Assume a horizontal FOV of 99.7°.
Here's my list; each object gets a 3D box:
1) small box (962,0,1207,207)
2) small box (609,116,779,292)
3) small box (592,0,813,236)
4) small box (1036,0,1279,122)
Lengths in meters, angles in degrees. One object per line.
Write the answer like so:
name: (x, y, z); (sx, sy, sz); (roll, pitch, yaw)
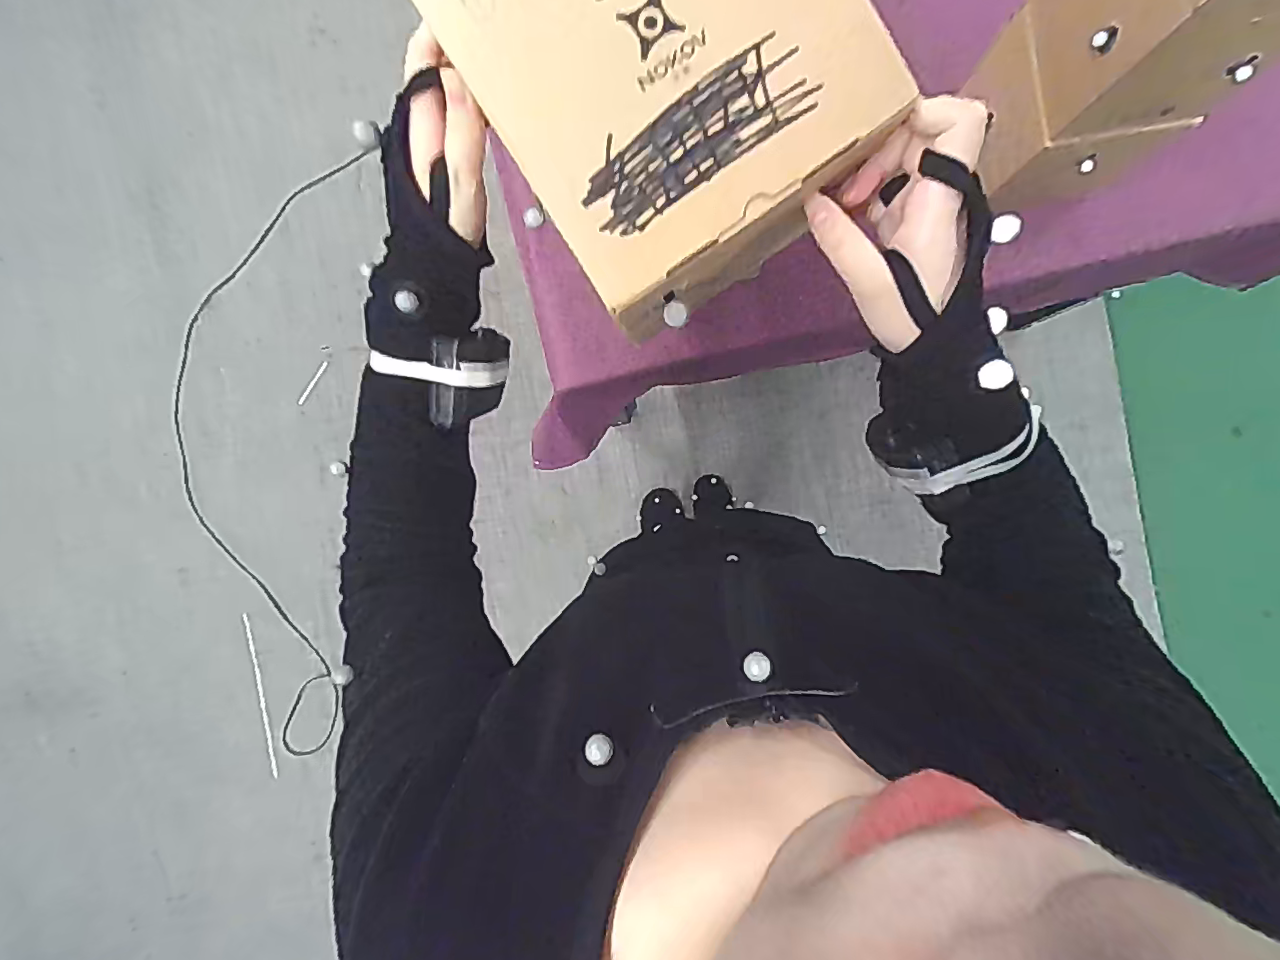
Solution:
small box: (0.532, -0.469, 0.678); (0.179, 0.176, 0.168); (-7, 90, 3)
small box: (0.067, -0.364, 0.706); (0.179, 0.176, 0.168); (-11, 89, 2)
small box: (0.056, -0.369, 0.542); (0.168, 0.176, 0.179); (-12, 88, 2)
small box: (0.522, -0.478, 0.516); (0.168, 0.176, 0.179); (-7, 89, 3)
